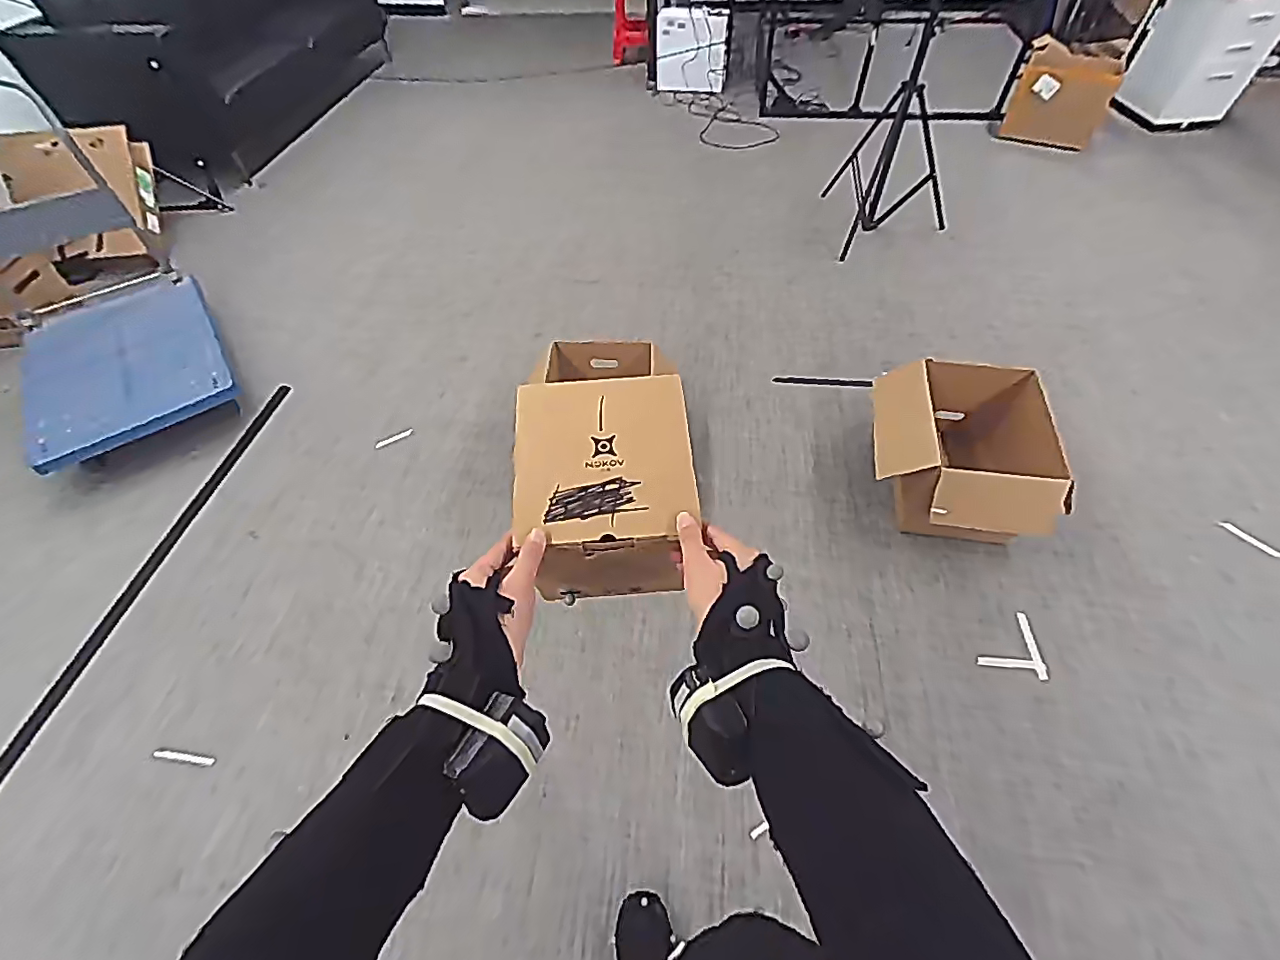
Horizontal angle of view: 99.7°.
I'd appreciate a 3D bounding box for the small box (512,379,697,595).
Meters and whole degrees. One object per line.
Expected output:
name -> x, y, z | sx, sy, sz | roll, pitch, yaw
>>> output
small box -> -0.034, 0.018, 0.577 | 0.168, 0.176, 0.179 | -4, 61, -2
